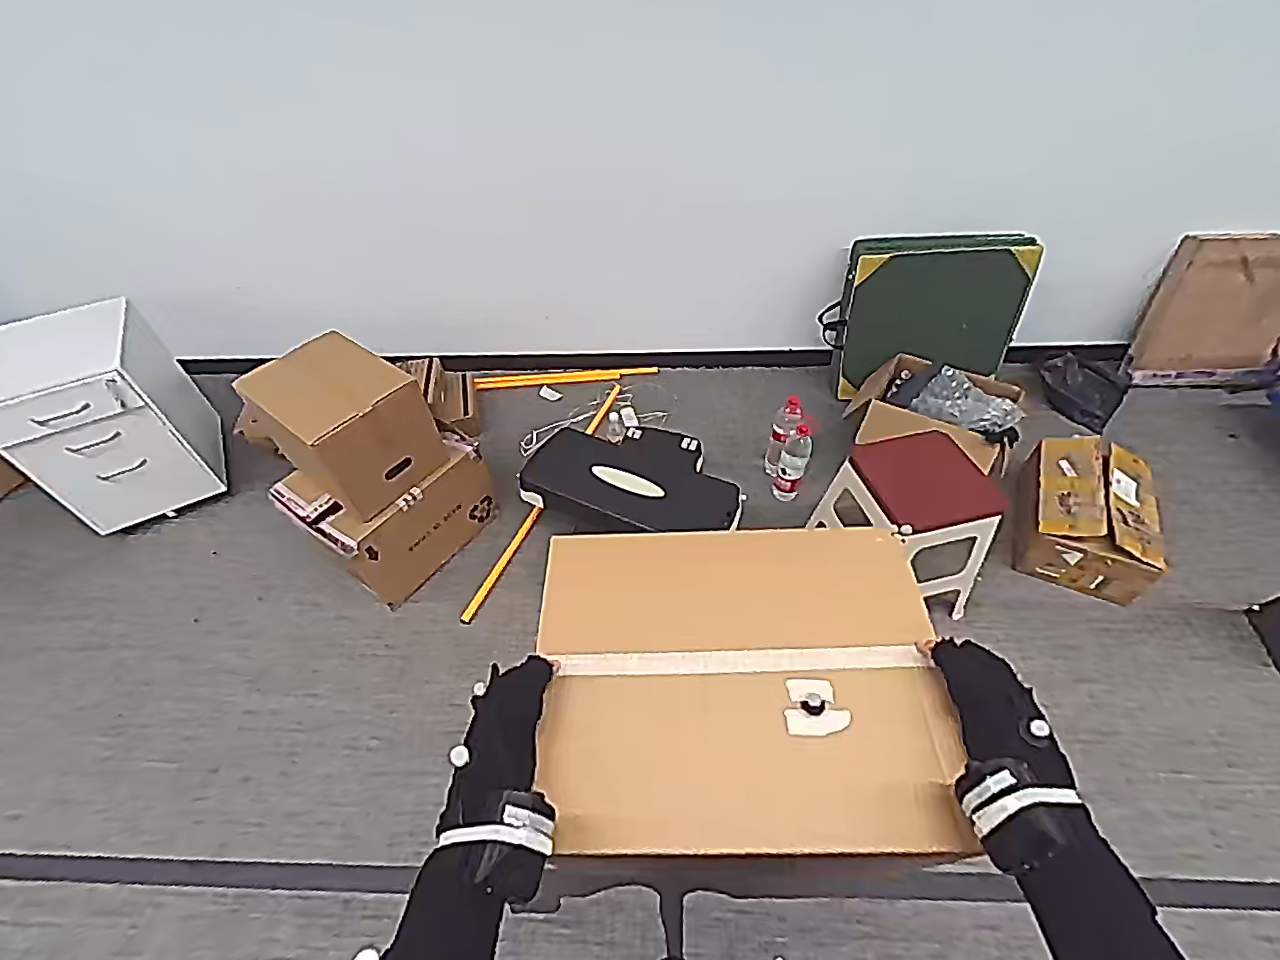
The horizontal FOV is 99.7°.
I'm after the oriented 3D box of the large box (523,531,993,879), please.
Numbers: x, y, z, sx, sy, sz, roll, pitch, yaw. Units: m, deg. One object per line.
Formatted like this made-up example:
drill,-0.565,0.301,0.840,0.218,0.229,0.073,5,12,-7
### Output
large box,0.101,0.281,0.659,0.408,0.320,0.320,-2,51,2
